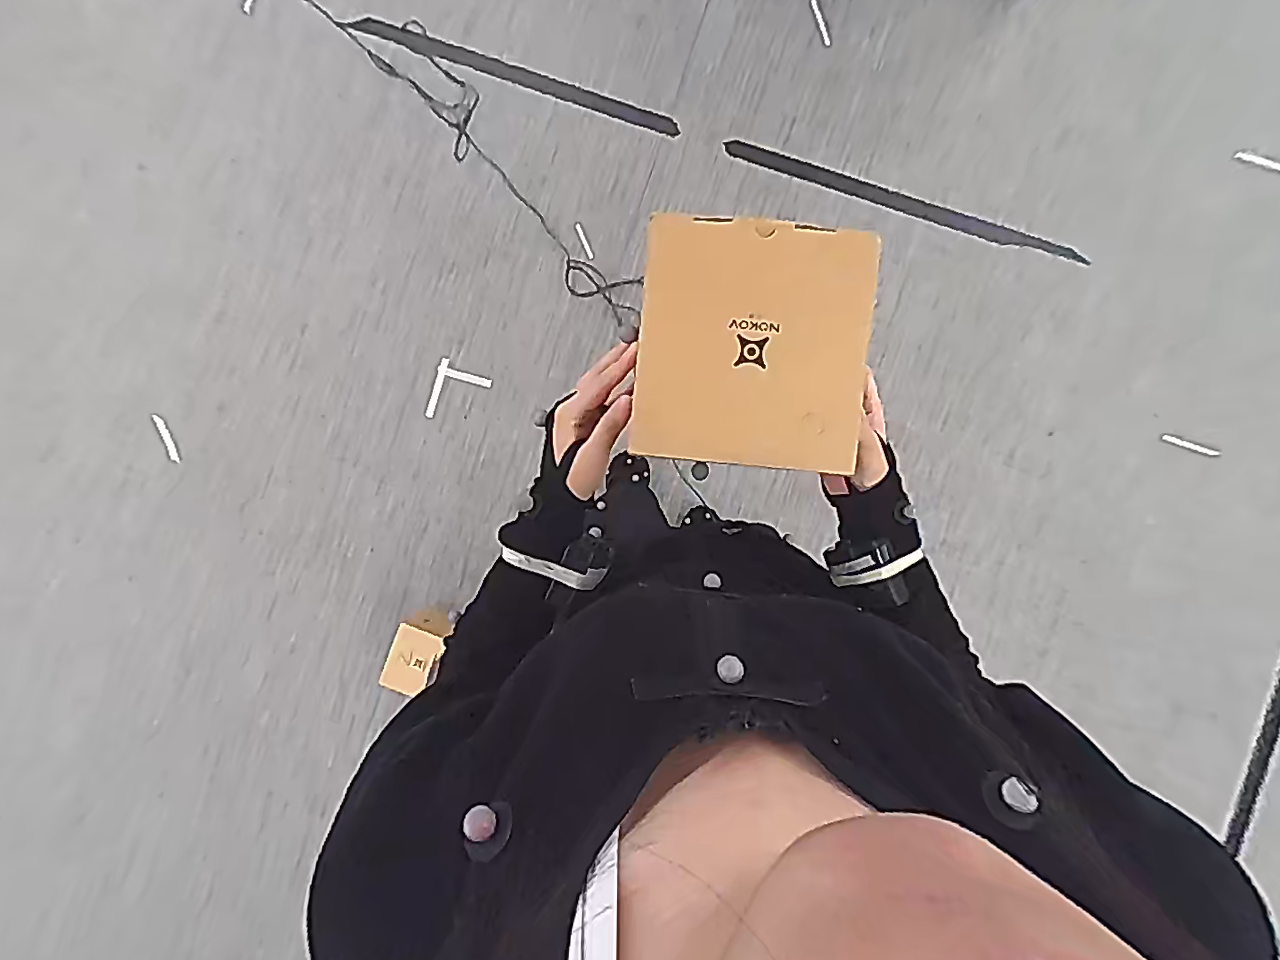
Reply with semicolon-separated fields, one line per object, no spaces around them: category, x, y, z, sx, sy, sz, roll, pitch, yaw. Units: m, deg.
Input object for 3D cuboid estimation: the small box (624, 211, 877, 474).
small box;0.081;-0.100;0.465;0.168;0.176;0.179;5;91;1
